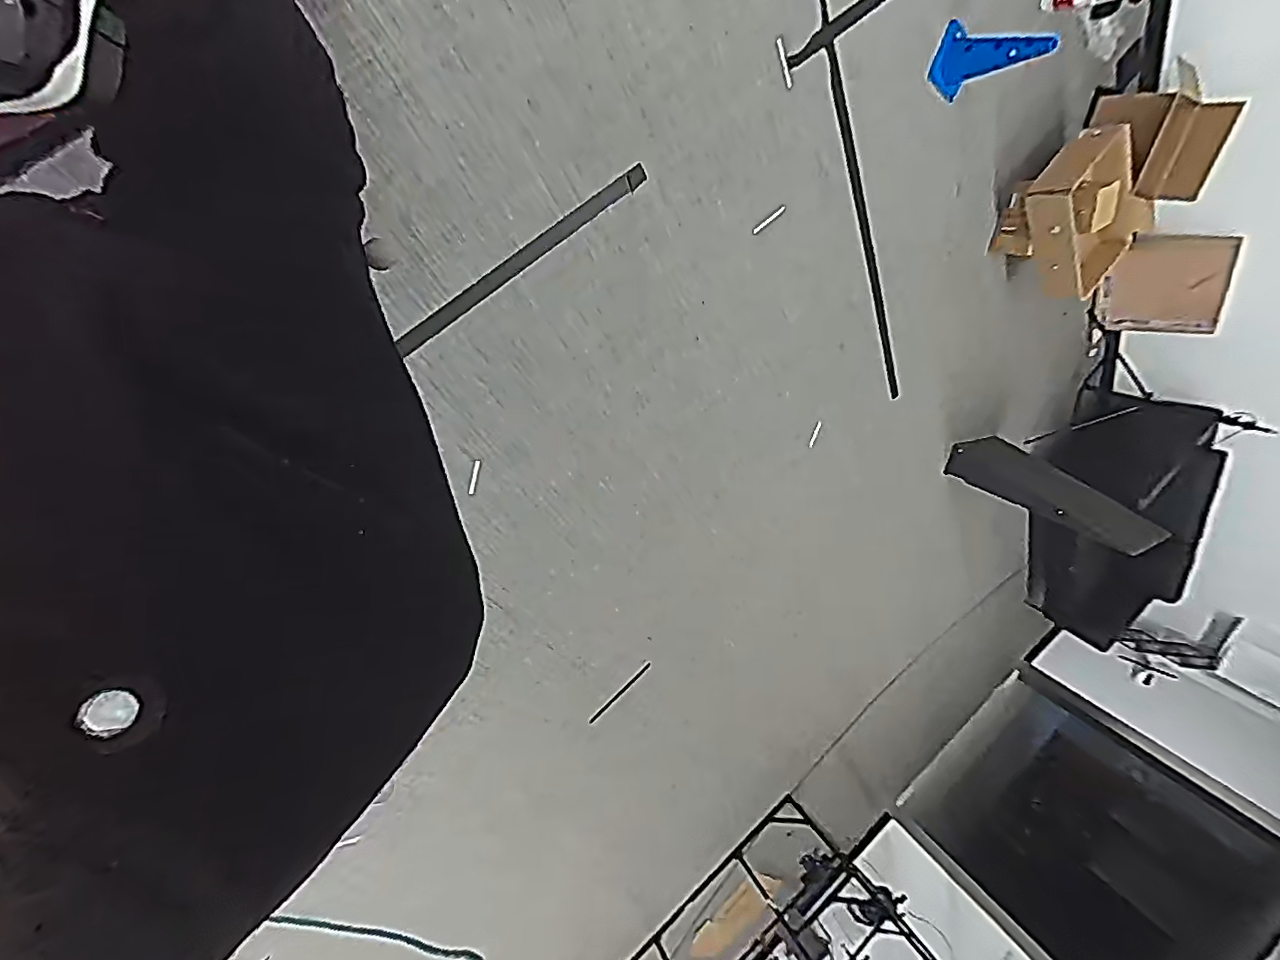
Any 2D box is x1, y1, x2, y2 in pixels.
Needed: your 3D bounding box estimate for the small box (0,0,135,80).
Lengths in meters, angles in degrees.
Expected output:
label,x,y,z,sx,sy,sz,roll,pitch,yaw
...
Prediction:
label,x,y,z,sx,sy,sz,roll,pitch,yaw
small box,-0.554,-0.448,0.413,0.168,0.176,0.179,-38,130,-10
